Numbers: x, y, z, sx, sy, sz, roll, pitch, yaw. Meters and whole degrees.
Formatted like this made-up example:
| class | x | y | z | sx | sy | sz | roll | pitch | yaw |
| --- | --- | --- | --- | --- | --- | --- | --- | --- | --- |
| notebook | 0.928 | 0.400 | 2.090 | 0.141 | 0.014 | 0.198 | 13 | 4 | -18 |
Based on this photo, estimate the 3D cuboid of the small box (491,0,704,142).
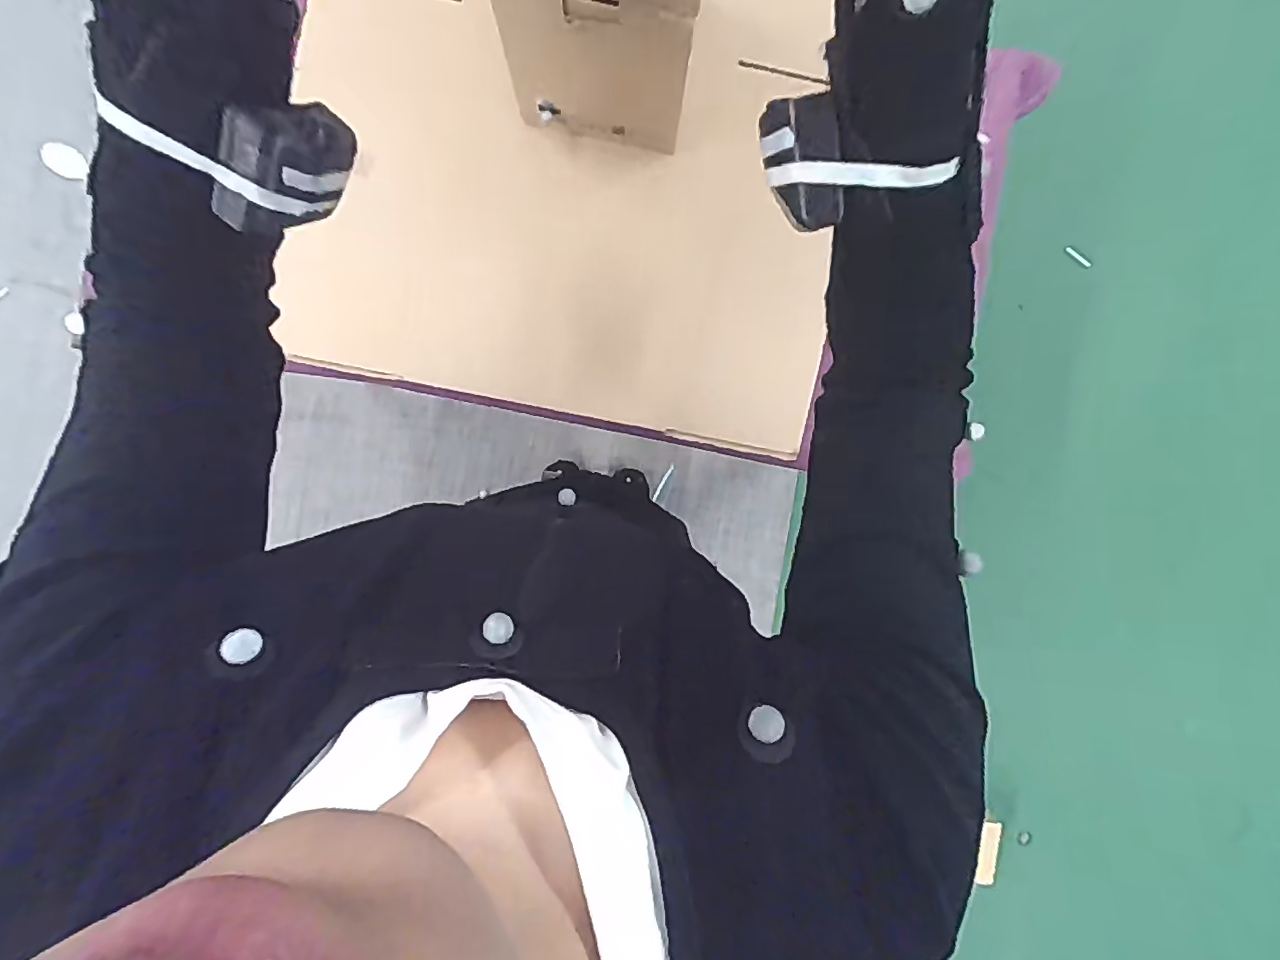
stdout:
| class | x | y | z | sx | sy | sz | roll | pitch | yaw |
| --- | --- | --- | --- | --- | --- | --- | --- | --- | --- |
| small box | -0.025 | -0.452 | 0.493 | 0.168 | 0.176 | 0.179 | 11 | 89 | -3 |
